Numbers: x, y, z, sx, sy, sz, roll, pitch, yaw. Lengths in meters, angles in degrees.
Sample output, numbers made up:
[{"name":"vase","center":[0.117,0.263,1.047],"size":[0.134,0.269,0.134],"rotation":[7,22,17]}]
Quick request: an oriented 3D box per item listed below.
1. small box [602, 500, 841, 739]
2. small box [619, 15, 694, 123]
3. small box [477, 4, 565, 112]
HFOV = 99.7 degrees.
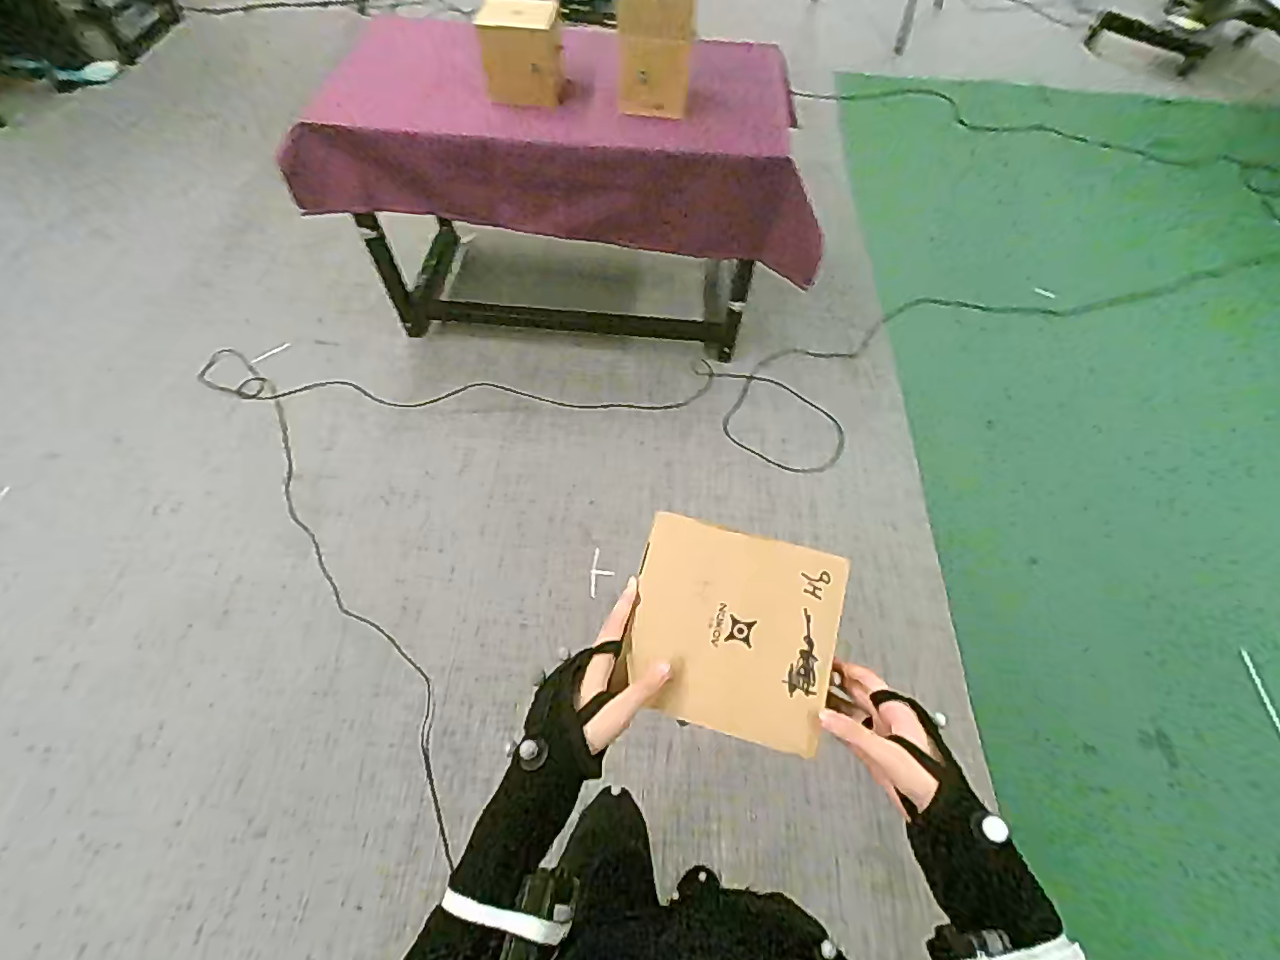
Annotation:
[{"name":"small box","center":[0.077,0.136,0.538],"size":[0.179,0.176,0.168],"rotation":[14,75,8]},{"name":"small box","center":[0.041,-1.034,1.366],"size":[0.168,0.176,0.179],"rotation":[6,58,2]},{"name":"small box","center":[-0.292,-1.067,1.374],"size":[0.179,0.176,0.168],"rotation":[5,58,1]}]
